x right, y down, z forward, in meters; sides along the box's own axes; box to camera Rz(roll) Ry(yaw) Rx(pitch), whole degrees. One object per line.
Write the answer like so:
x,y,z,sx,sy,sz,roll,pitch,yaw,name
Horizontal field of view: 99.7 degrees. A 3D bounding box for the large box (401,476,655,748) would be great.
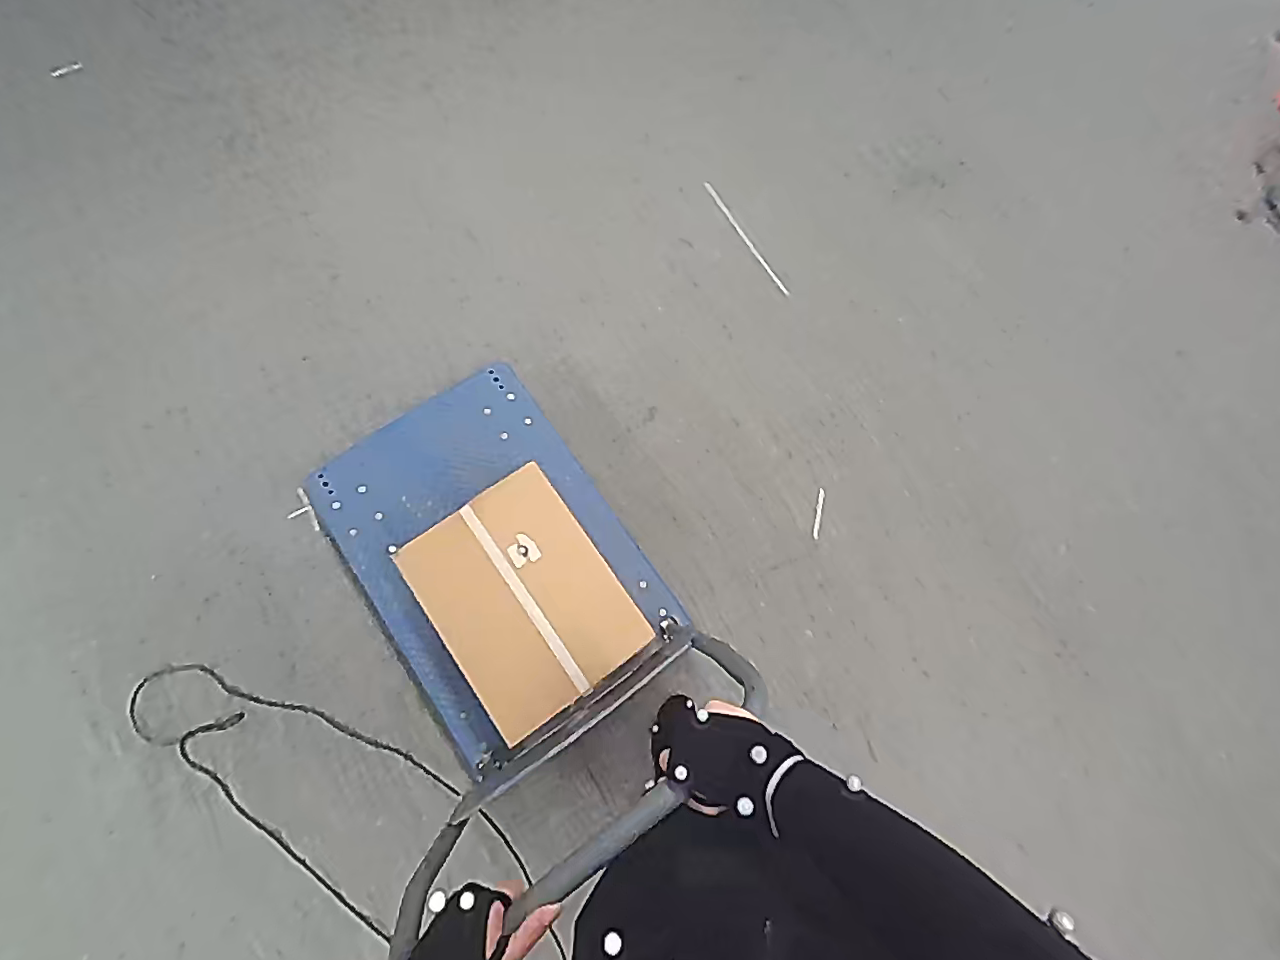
-0.210,0.265,1.139,0.320,0.320,0.408,-35,79,-10,large box
